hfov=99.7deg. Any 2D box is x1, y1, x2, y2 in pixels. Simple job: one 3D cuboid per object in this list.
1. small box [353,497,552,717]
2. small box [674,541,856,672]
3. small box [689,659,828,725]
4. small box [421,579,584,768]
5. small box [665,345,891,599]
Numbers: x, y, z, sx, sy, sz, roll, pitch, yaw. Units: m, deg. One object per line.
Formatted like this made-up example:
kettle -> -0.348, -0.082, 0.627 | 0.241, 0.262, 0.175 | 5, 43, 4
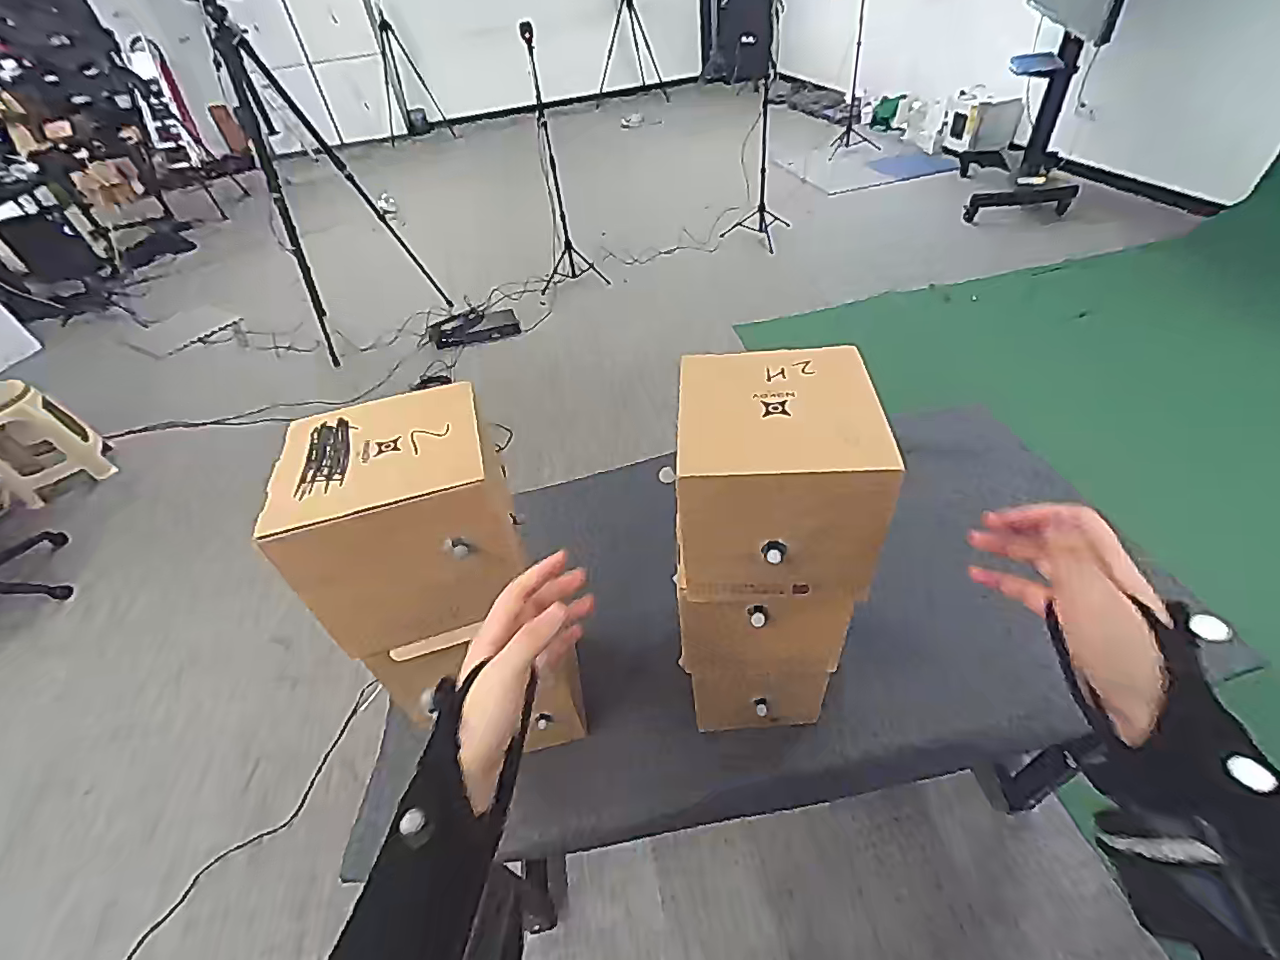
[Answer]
small box -> -0.210, 0.154, 0.639 | 0.168, 0.176, 0.179 | -16, 41, -8
small box -> 0.133, 0.108, 0.627 | 0.179, 0.176, 0.168 | -4, 43, 8
small box -> 0.148, 0.221, 0.745 | 0.168, 0.176, 0.179 | -7, 44, 3
small box -> -0.181, 0.270, 0.753 | 0.179, 0.176, 0.168 | -14, 42, -4
small box -> 0.117, -0.003, 0.506 | 0.168, 0.176, 0.179 | -2, 43, 8
